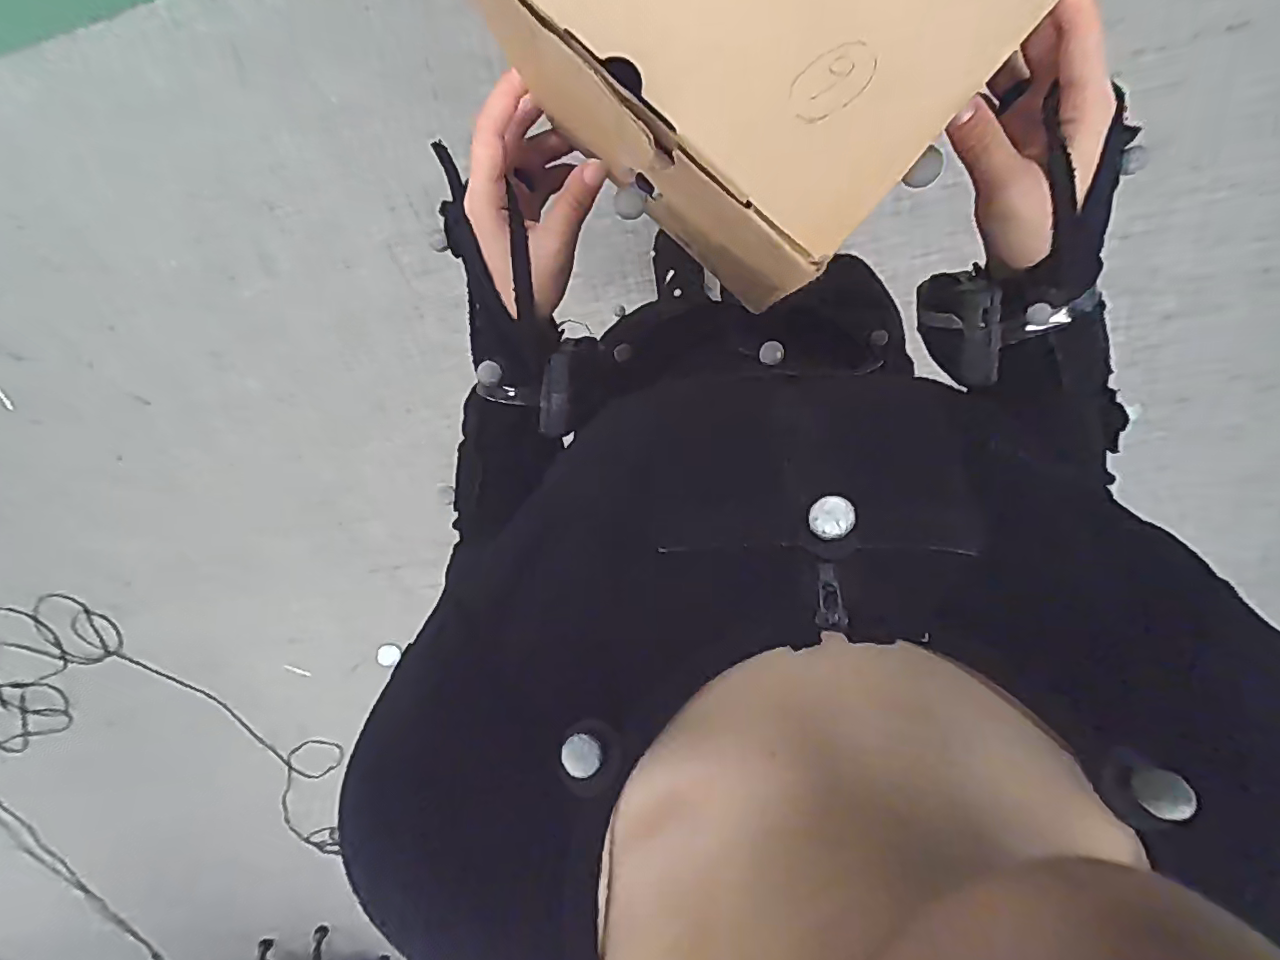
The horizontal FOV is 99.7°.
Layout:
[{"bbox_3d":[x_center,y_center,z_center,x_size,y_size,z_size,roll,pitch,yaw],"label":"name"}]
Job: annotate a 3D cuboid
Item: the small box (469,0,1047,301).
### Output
[{"bbox_3d":[0.058,-0.200,0.235,0.168,0.176,0.179,41,104,-4],"label":"small box"}]
